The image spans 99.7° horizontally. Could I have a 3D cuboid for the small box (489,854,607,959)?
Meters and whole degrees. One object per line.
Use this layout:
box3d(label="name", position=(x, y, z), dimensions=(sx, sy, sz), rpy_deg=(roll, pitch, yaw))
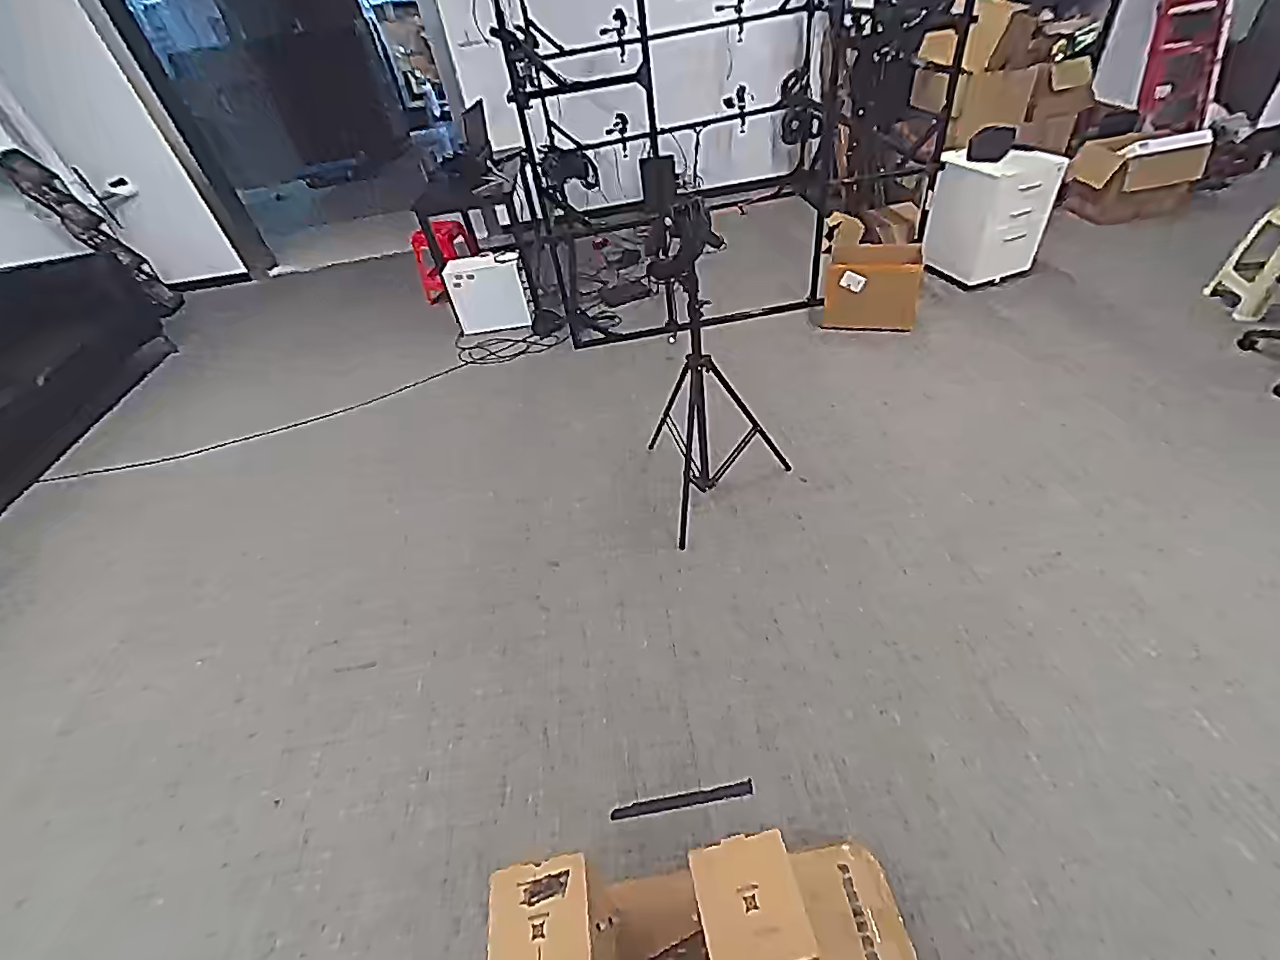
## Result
box3d(label="small box", position=(-0.152, 0.778, 0.923), dimensions=(0.168, 0.176, 0.179), rpy_deg=(-11, 42, -2))

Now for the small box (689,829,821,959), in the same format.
box3d(label="small box", position=(0.186, 0.731, 0.915), dimensions=(0.168, 0.176, 0.179), rpy_deg=(-14, 42, -3))

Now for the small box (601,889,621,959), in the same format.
box3d(label="small box", position=(-0.128, 0.909, 1.020), dimensions=(0.168, 0.176, 0.179), rpy_deg=(-10, 41, 0))
